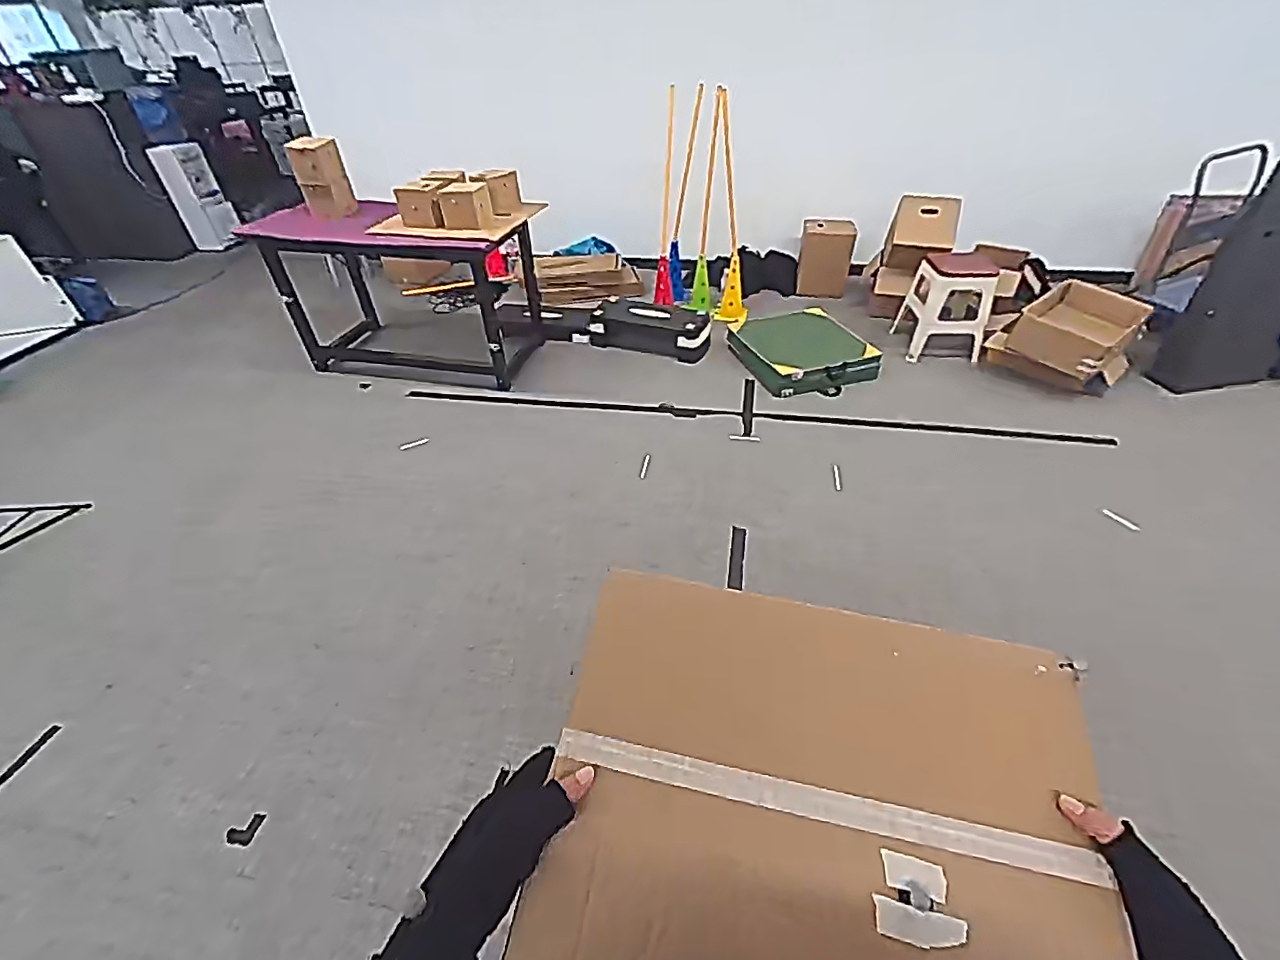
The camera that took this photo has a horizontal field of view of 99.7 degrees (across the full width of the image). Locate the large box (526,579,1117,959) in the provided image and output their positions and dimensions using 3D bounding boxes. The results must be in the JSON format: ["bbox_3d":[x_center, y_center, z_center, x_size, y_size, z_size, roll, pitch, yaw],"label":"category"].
[{"bbox_3d":[0.146,0.333,0.549,0.408,0.320,0.320,9,58,9],"label":"large box"}]
